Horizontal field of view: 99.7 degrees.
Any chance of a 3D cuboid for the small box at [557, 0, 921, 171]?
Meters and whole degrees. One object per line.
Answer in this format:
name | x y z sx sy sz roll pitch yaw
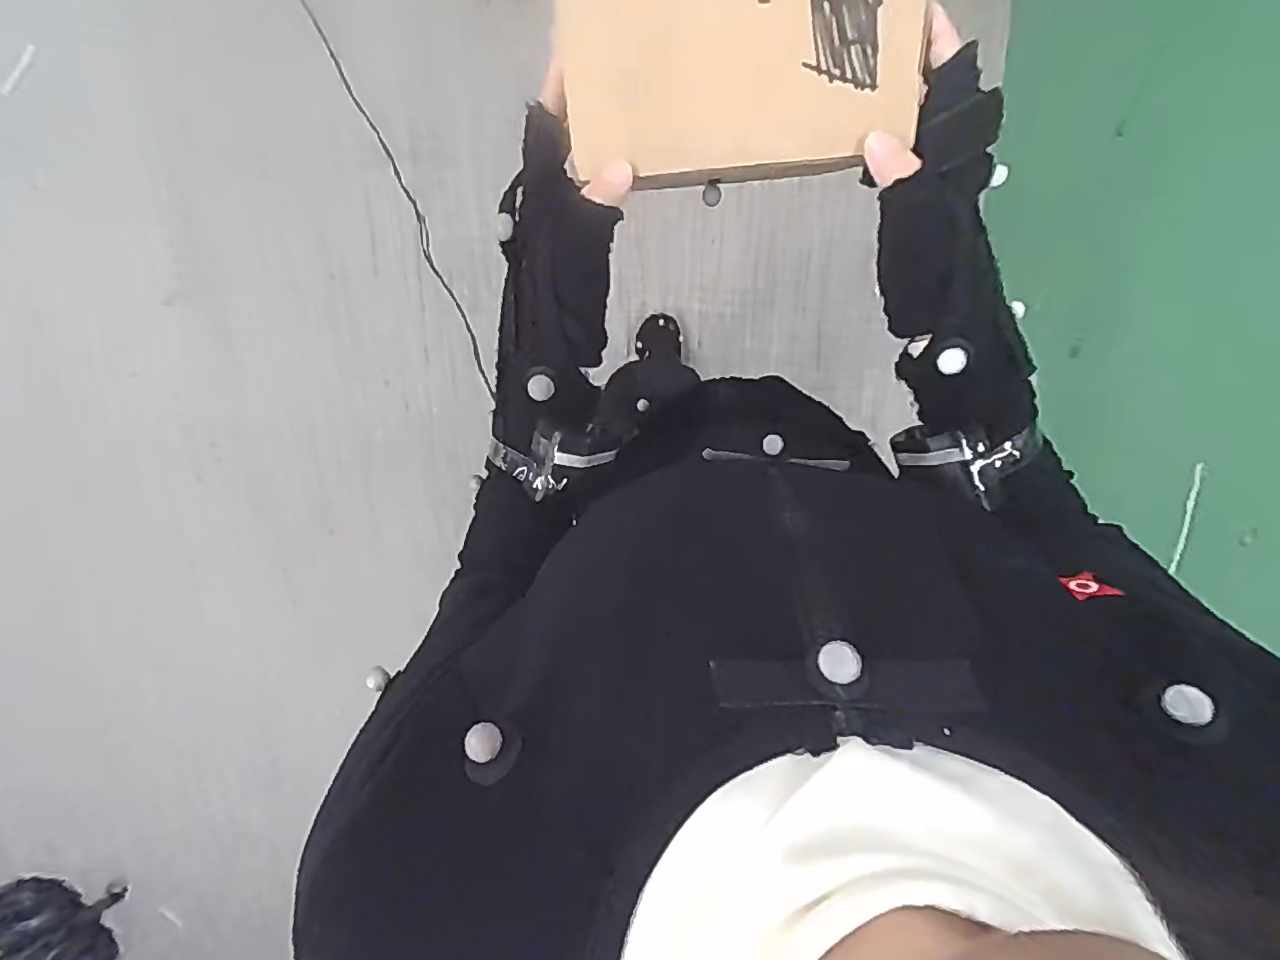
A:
small box | 0.045 -0.285 0.319 0.179 0.176 0.168 -3 116 2
